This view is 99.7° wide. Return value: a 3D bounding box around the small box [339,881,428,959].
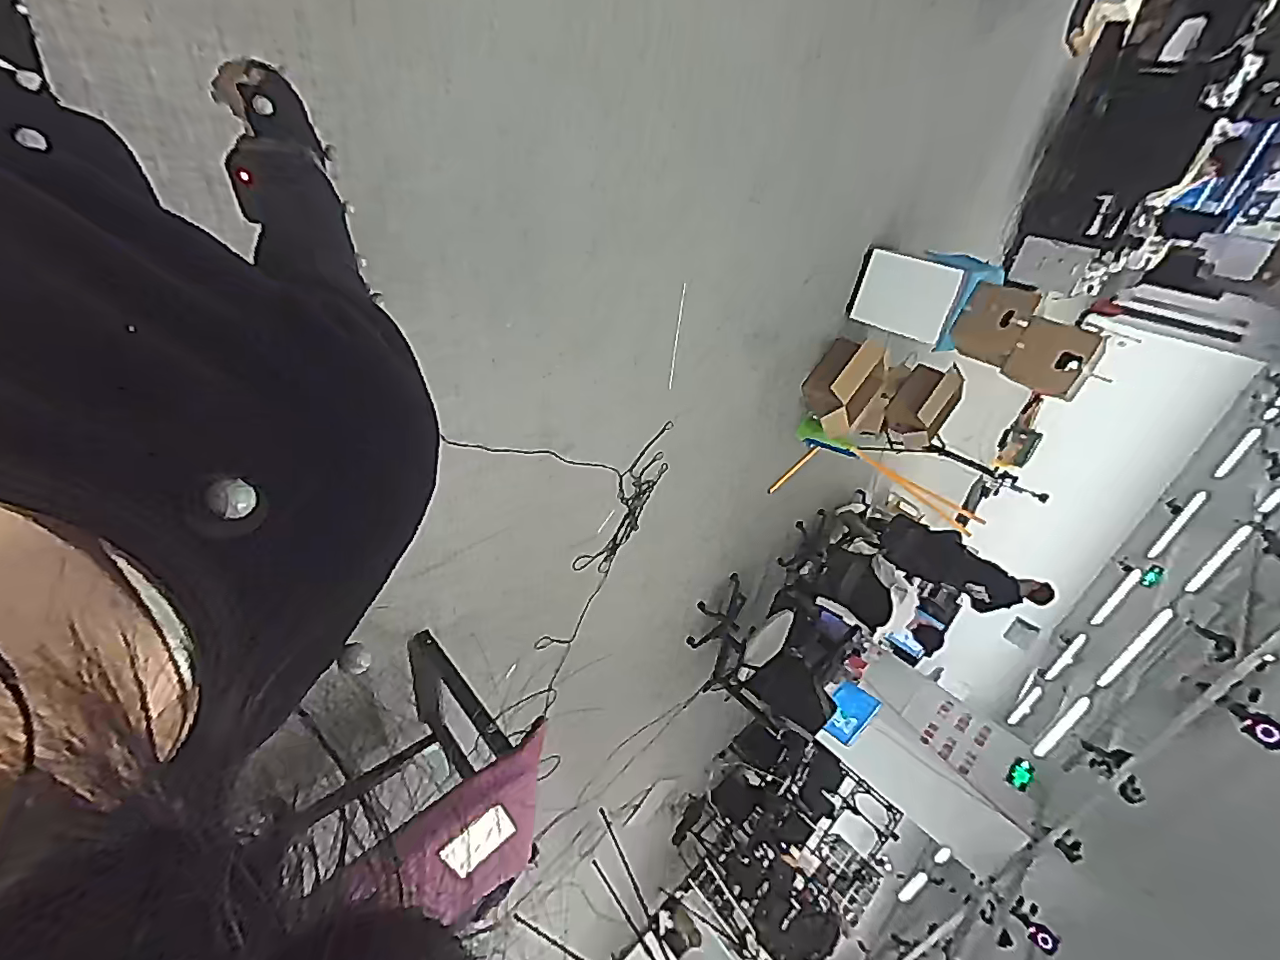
[{"bbox_3d":[-0.676,1.220,1.433,0.168,0.176,0.179,-20,132,-39],"label":"small box"}]
